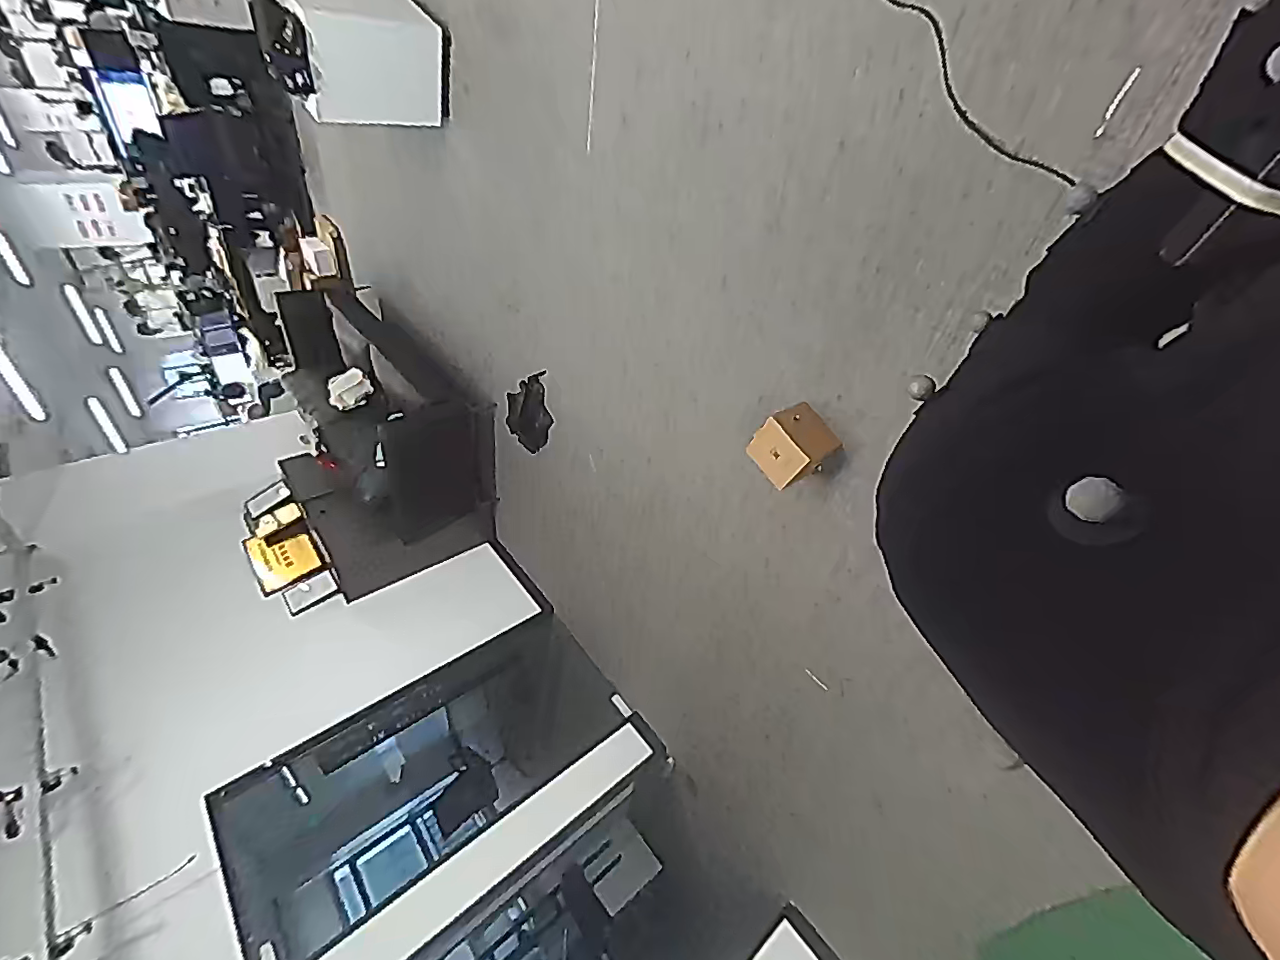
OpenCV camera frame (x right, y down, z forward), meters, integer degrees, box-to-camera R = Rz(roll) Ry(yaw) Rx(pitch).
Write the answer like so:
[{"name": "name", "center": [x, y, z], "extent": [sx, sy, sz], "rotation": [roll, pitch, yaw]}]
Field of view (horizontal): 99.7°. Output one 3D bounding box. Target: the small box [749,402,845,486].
[{"name": "small box", "center": [0.471, -0.116, 1.623], "extent": [0.179, 0.176, 0.168], "rotation": [53, 144, 18]}]
